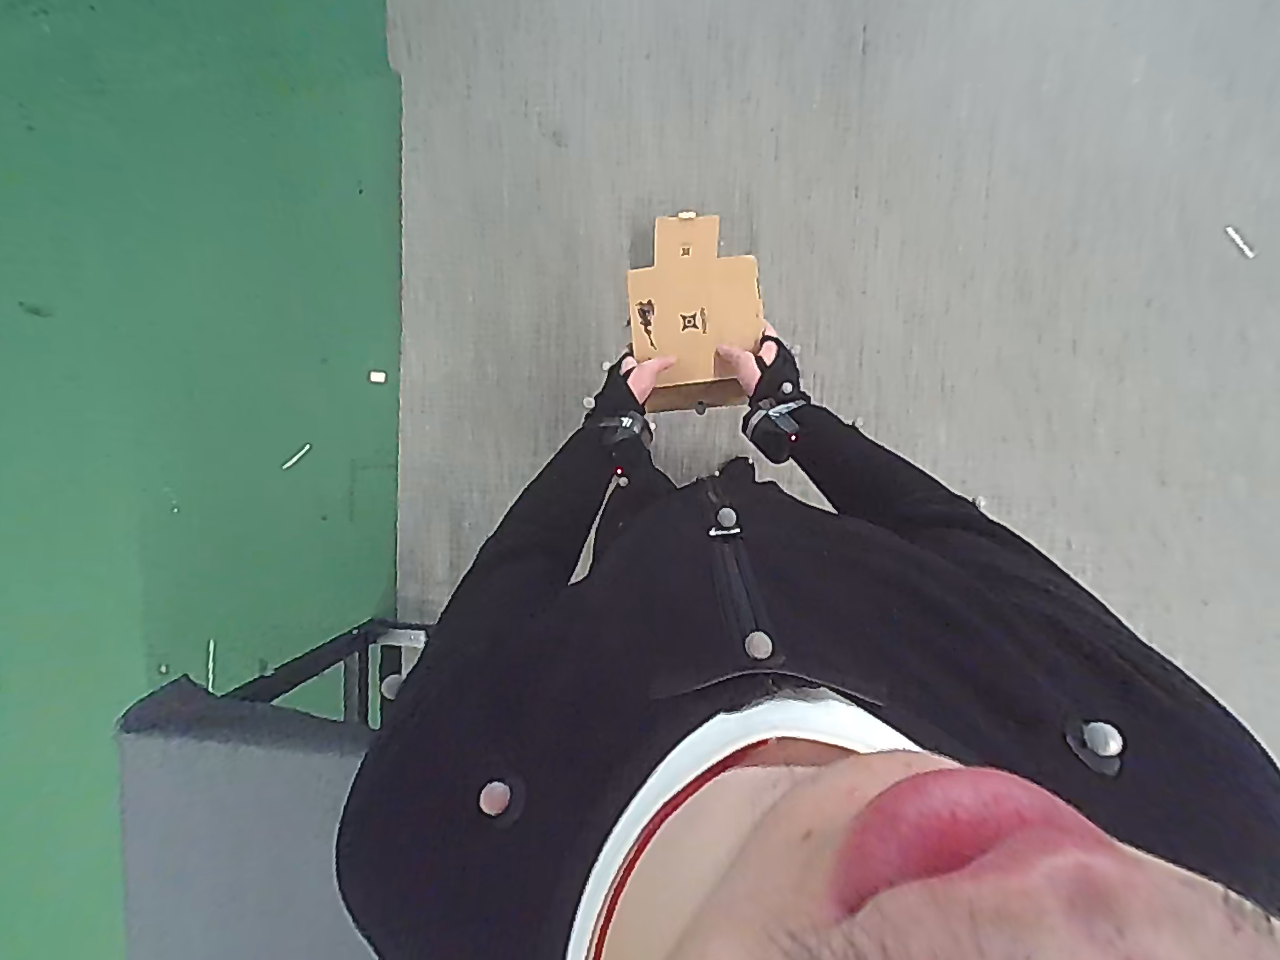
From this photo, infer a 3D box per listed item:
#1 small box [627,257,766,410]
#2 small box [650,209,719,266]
[{"bbox_3d":[0.079,-0.205,0.795,0.179,0.176,0.168,-5,85,4],"label":"small box"},{"bbox_3d":[0.122,-0.601,1.450,0.168,0.176,0.179,5,94,8],"label":"small box"}]
